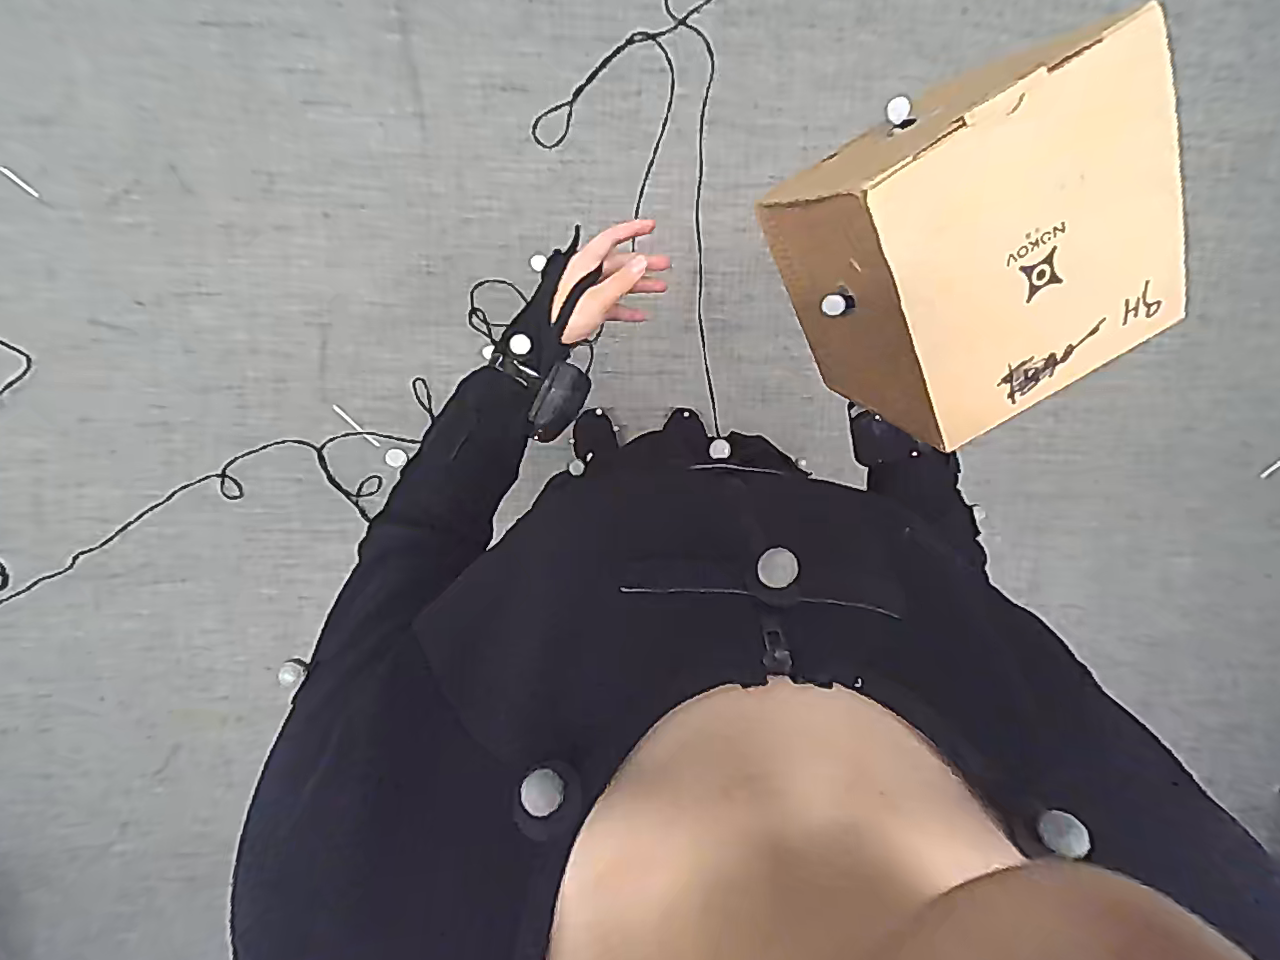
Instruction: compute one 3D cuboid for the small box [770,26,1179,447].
[{"bbox_3d":[0.218,-0.157,0.387,0.168,0.176,0.179,-31,115,6],"label":"small box"}]
